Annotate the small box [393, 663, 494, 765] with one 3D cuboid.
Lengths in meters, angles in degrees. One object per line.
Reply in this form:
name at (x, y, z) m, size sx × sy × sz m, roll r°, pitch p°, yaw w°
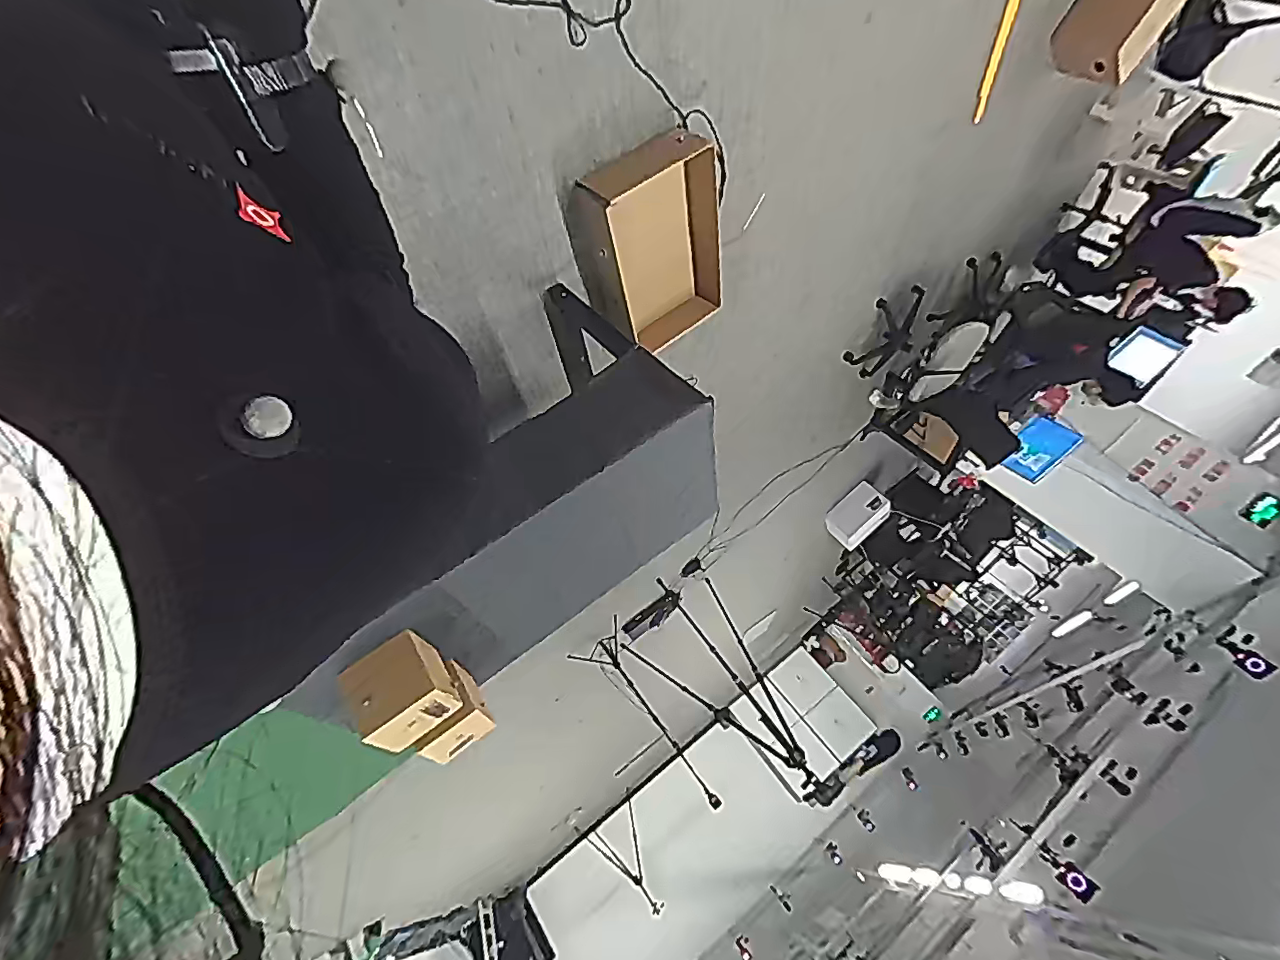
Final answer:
small box at (-0.518, 0.617, 1.432) m, size 0.168 × 0.176 × 0.179 m, roll -33°, pitch 147°, yaw -18°
